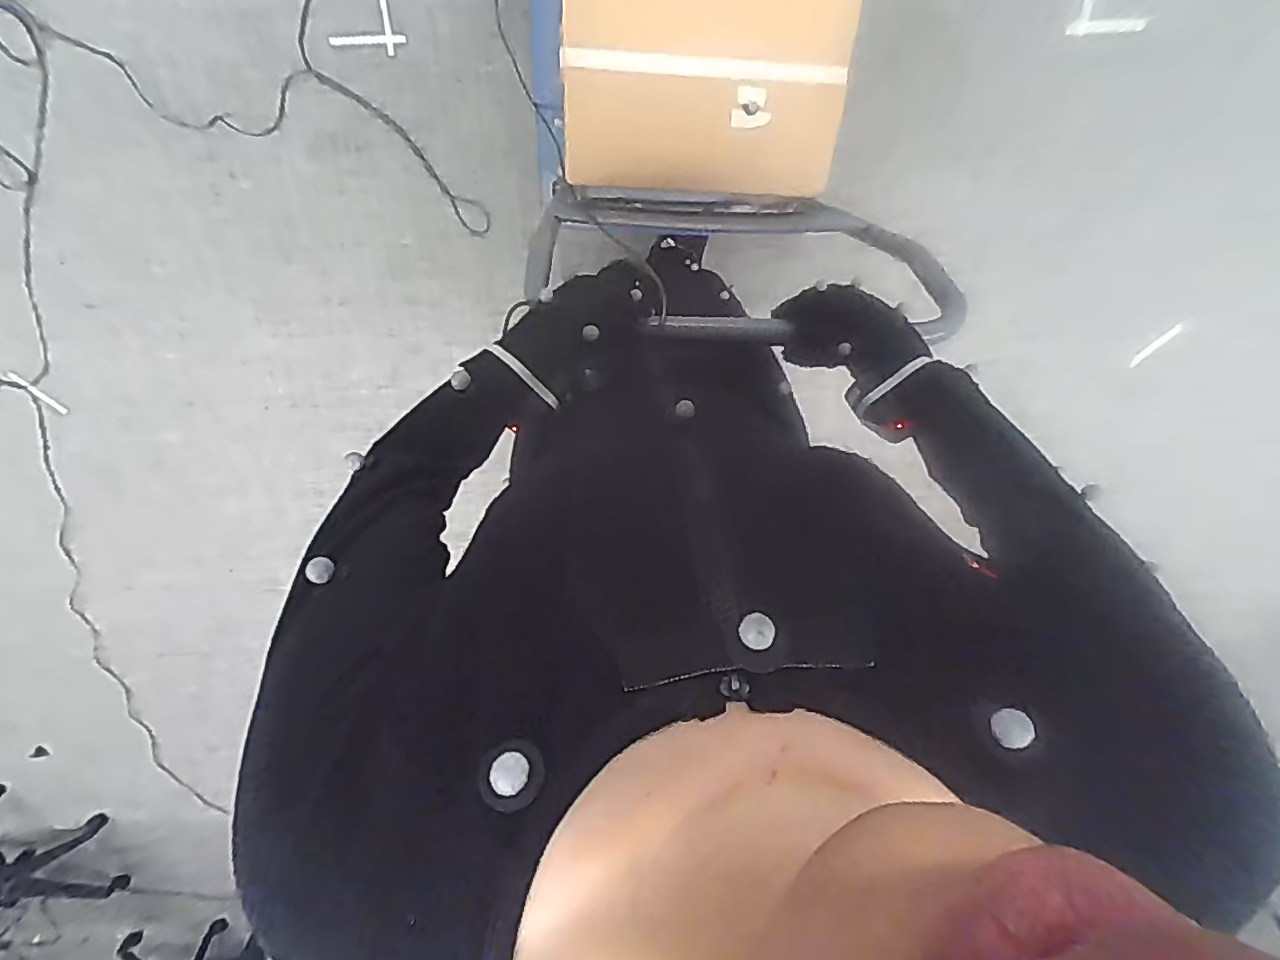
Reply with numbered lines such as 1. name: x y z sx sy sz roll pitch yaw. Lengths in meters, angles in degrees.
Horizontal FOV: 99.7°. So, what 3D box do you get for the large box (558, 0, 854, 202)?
1. large box: 0.076 -0.643 0.887 0.408 0.320 0.320 0 121 -5
